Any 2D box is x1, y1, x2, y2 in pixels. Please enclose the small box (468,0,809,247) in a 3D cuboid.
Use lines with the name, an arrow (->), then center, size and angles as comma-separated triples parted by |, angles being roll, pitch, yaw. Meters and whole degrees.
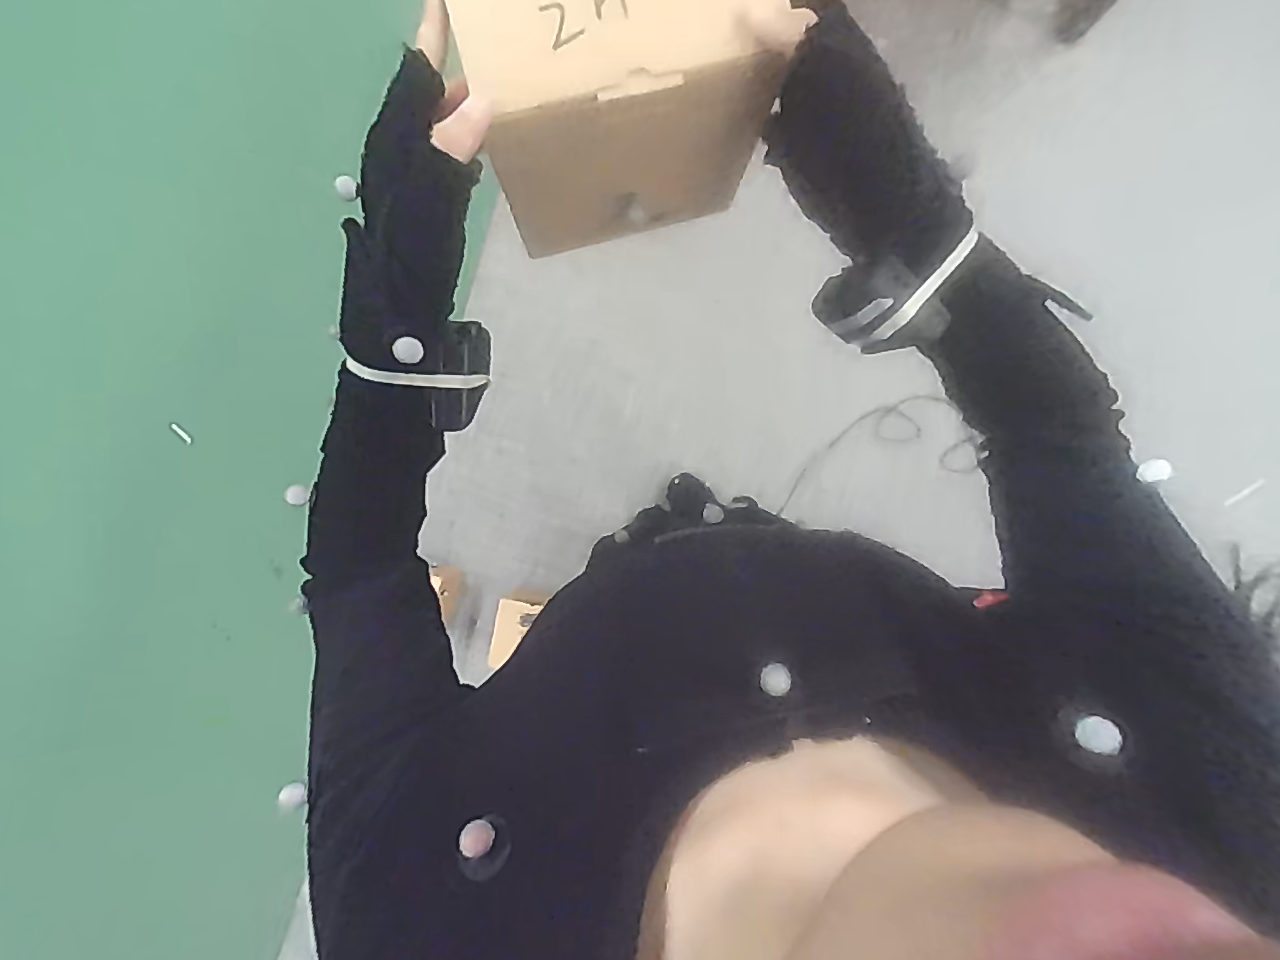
small box -> -0.017, -0.284, 0.348 | 0.168, 0.176, 0.179 | -14, 90, -2

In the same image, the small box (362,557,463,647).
small box -> -0.584, 0.311, 1.412 | 0.168, 0.176, 0.179 | 16, 86, 1

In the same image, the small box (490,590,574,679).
small box -> -0.271, 0.391, 1.400 | 0.168, 0.176, 0.179 | 10, 87, 2
